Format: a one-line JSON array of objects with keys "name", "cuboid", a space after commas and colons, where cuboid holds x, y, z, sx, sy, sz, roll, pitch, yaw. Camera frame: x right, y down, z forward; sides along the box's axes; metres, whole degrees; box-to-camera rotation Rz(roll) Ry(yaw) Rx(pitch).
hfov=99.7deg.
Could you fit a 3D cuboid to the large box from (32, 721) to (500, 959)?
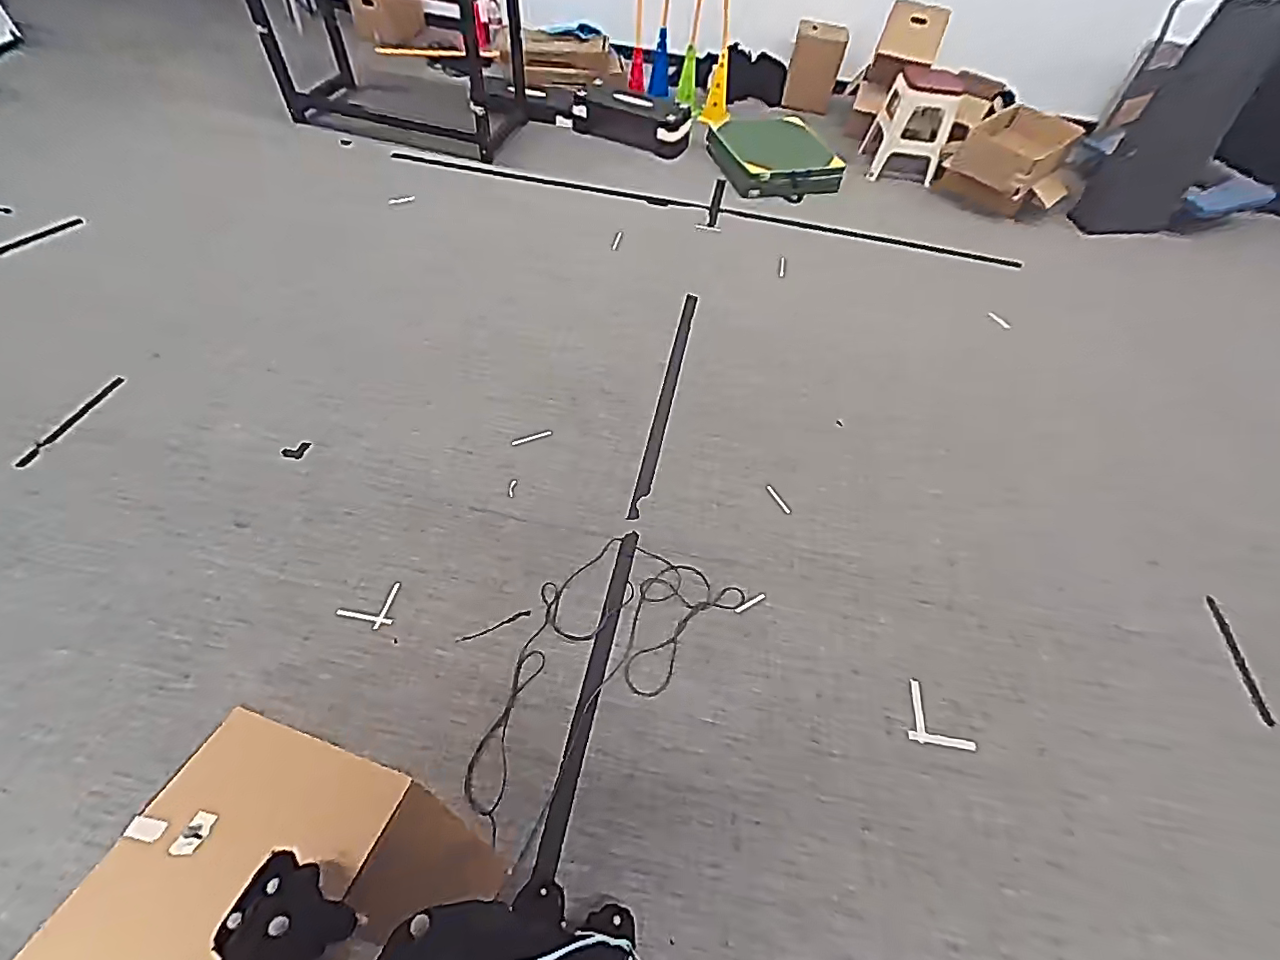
[{"name": "large box", "cuboid": [-0.452, 0.595, 0.740, 0.320, 0.408, 0.320, 10, 45, 20]}]
